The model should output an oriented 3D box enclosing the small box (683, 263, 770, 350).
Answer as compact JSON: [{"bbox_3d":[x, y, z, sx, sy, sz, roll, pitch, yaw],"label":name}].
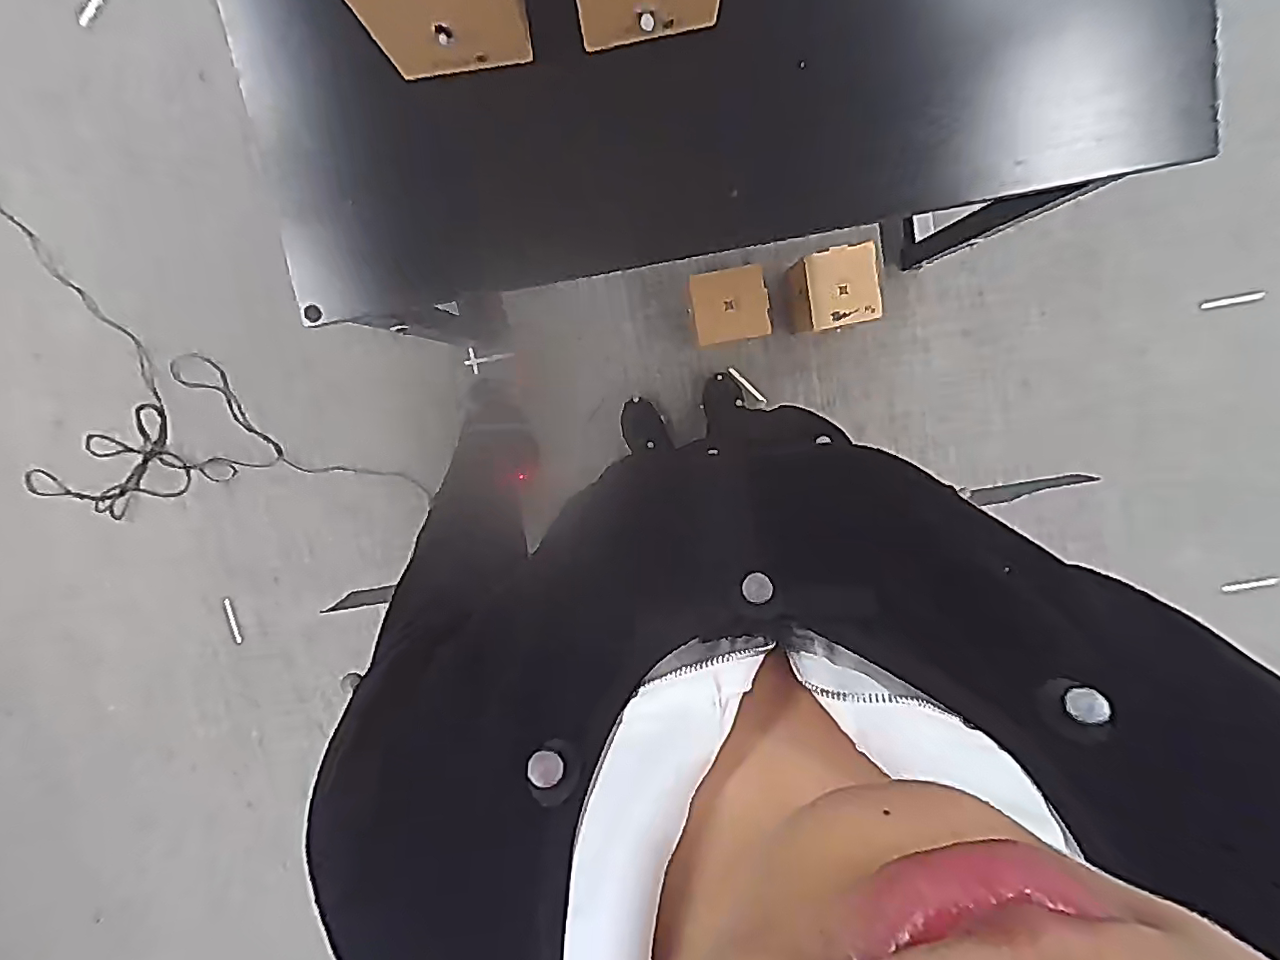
[{"bbox_3d":[0.210,-0.425,1.349,0.179,0.176,0.168,-10,99,3],"label":"small box"}]

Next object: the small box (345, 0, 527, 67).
[{"bbox_3d":[-0.228,-0.587,0.585,0.168,0.176,0.179,-7,99,1],"label":"small box"}]

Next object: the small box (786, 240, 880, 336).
[{"bbox_3d":[0.469,-0.466,1.337,0.168,0.176,0.179,-11,99,3],"label":"small box"}]

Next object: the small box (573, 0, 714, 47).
[{"bbox_3d":[-0.007,-0.621,0.578,0.168,0.176,0.179,-10,100,3],"label":"small box"}]
